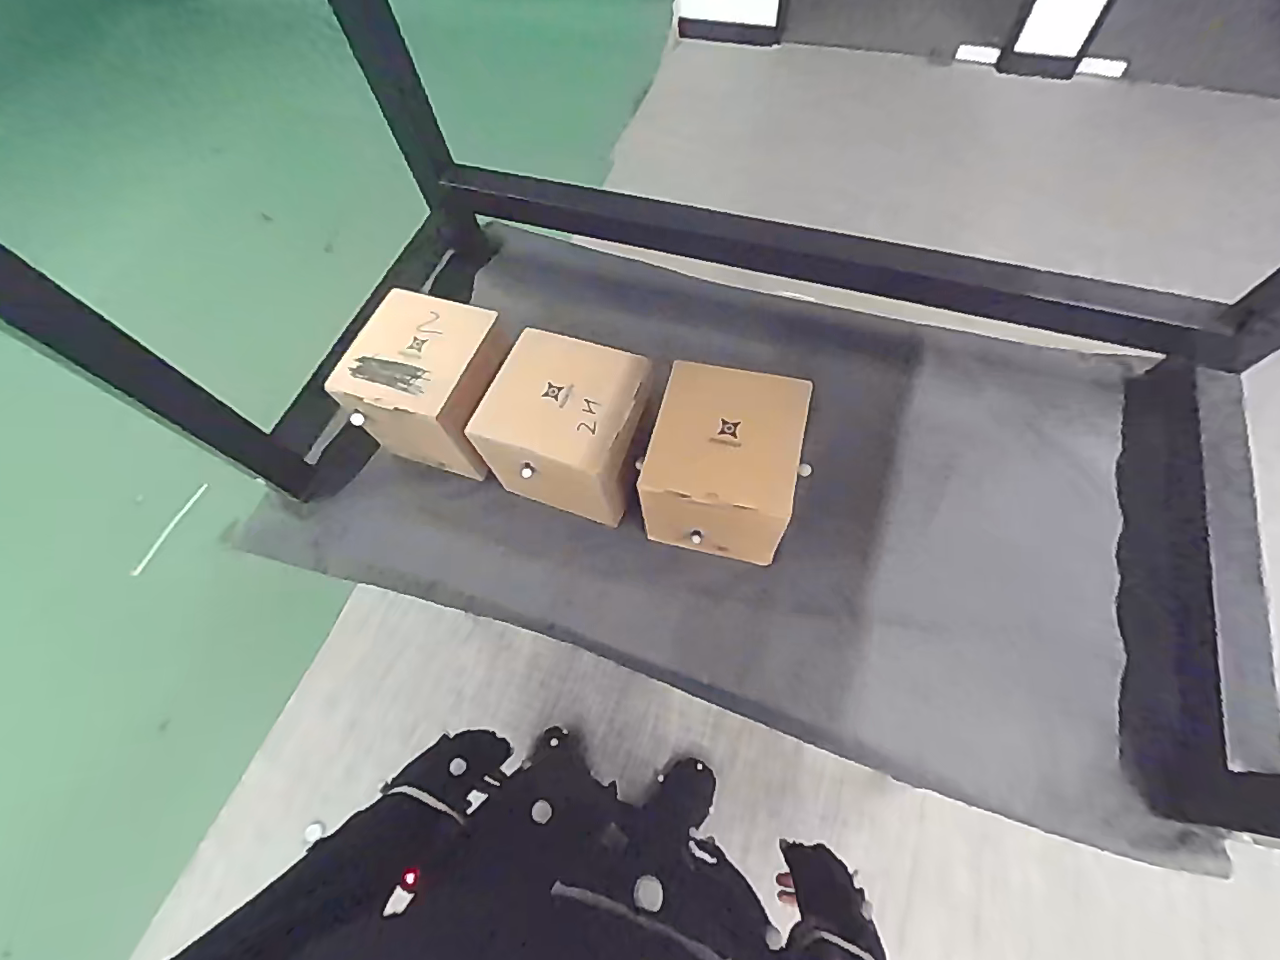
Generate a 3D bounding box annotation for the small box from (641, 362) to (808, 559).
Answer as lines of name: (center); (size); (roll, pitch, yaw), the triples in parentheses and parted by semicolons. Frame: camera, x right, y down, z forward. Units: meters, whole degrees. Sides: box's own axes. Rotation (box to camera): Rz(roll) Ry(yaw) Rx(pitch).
small box: (0.105, -0.019, 0.688); (0.168, 0.176, 0.179); (11, 66, 10)
